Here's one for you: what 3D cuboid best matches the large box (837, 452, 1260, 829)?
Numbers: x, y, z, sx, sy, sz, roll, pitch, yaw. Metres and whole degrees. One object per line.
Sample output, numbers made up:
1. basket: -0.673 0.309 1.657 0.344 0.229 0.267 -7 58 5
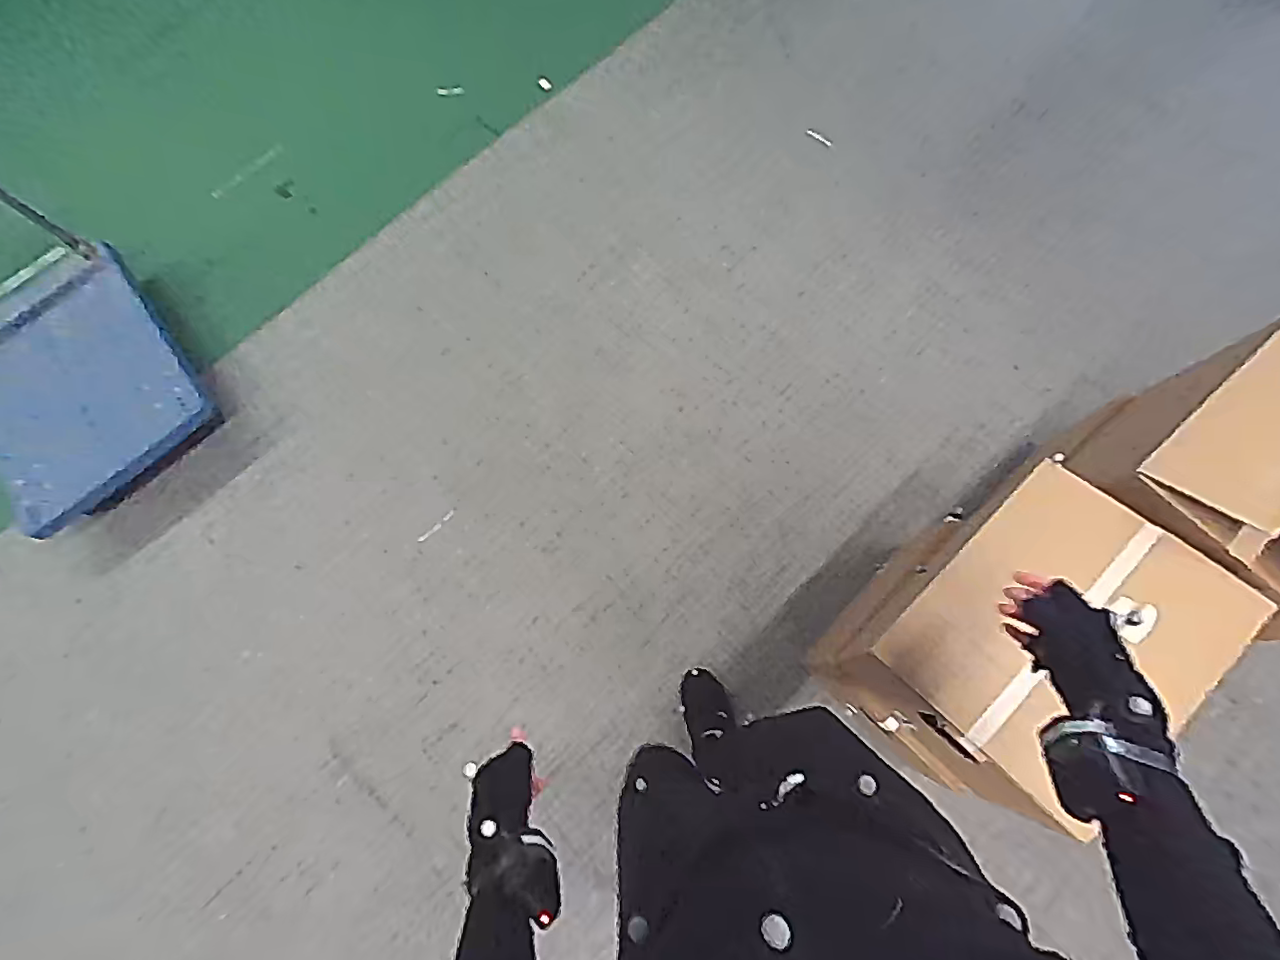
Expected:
1. large box: 0.582 0.242 0.858 0.408 0.320 0.320 -43 68 -8
